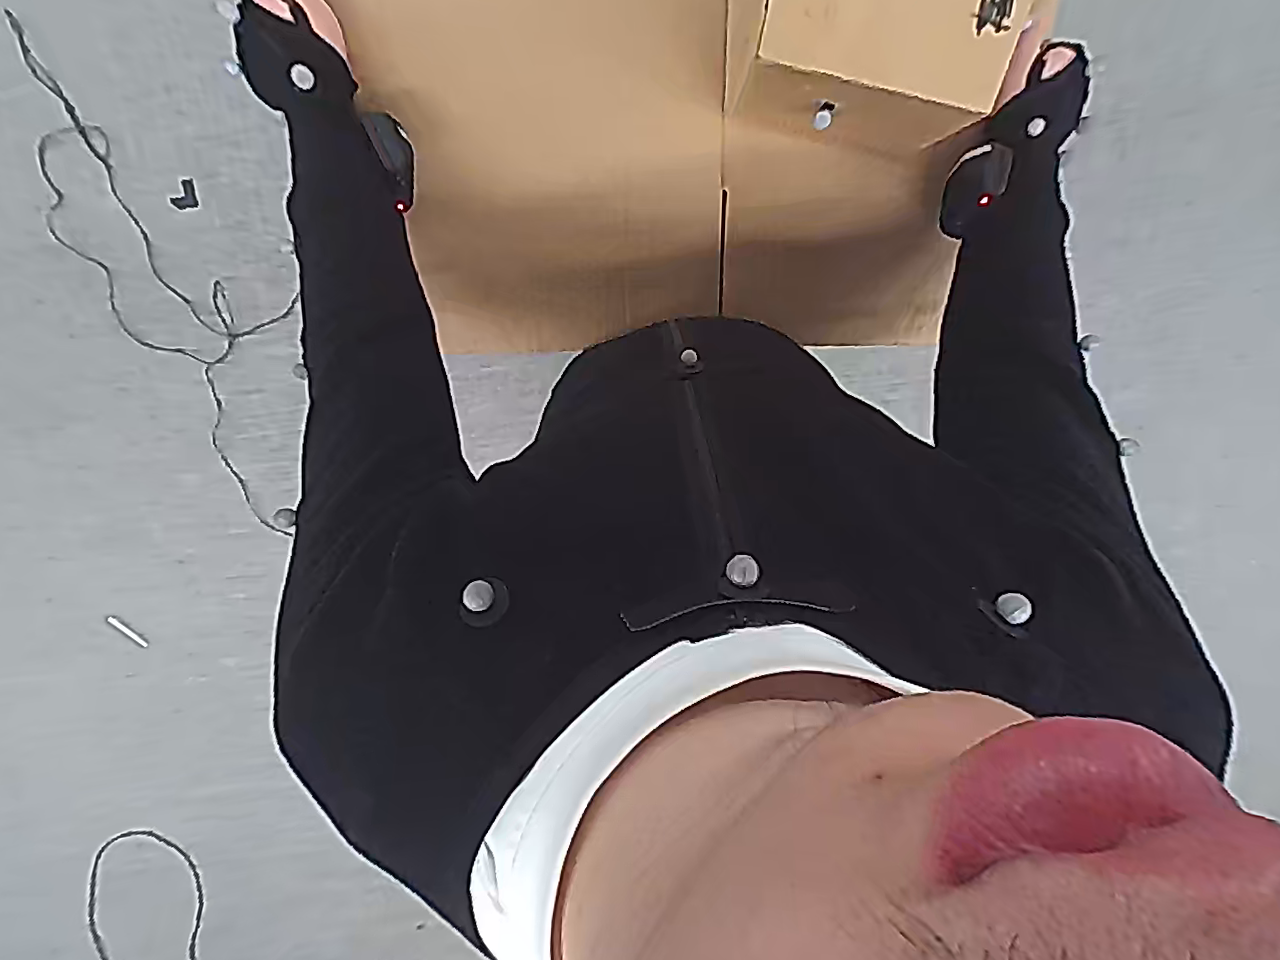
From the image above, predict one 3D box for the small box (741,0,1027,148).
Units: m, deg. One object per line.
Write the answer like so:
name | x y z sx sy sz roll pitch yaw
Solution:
small box | 0.189 -0.390 0.435 0.179 0.176 0.168 12 111 -1
